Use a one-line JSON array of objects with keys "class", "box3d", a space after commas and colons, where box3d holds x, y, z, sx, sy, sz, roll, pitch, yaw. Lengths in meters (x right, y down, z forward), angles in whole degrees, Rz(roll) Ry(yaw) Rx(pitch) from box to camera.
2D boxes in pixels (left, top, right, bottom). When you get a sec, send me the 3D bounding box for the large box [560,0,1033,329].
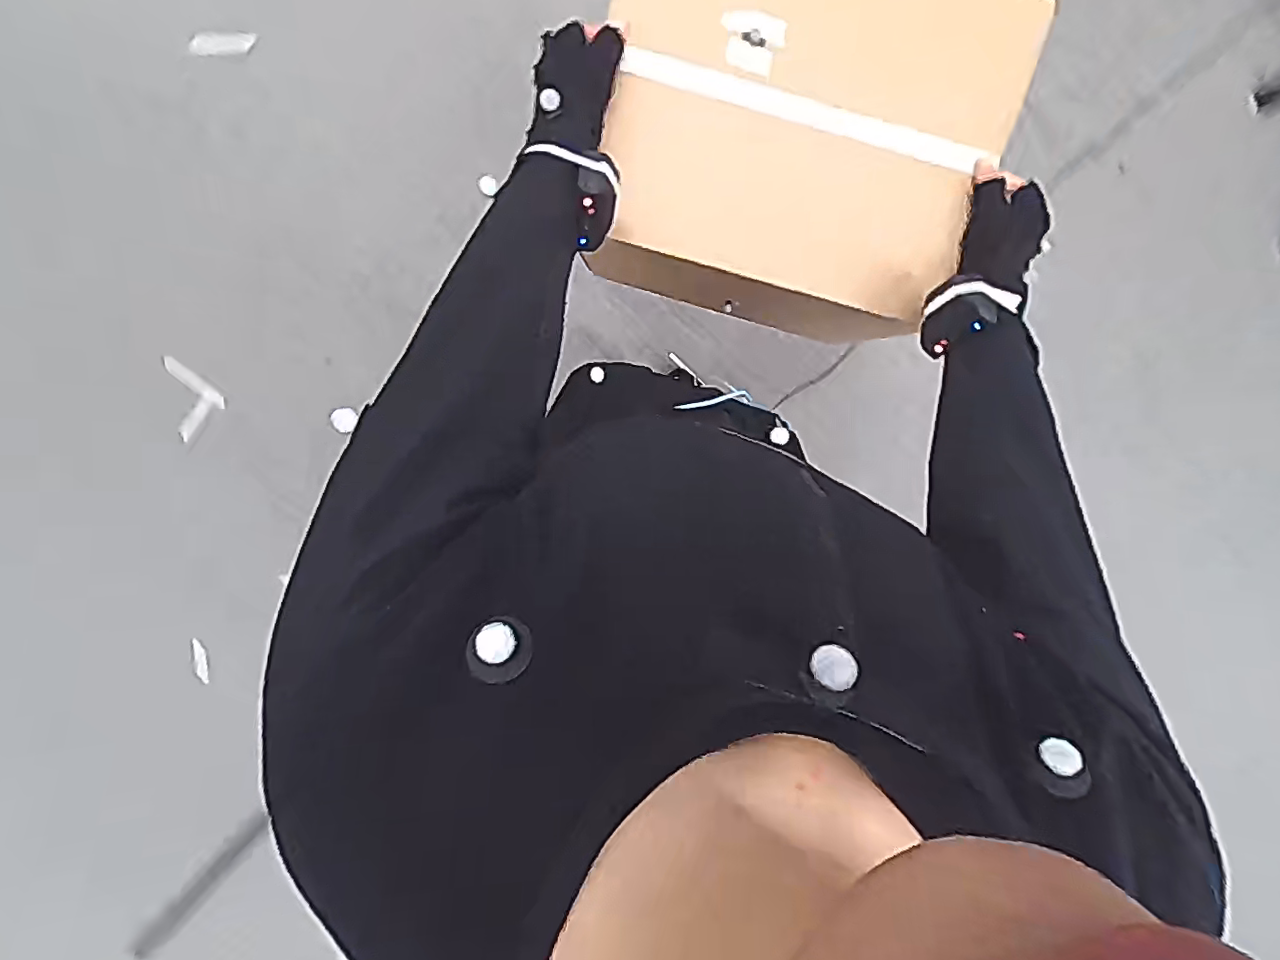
[{"class": "large box", "box3d": [0.149, -0.395, 0.677, 0.408, 0.320, 0.320, 15, 100, -2]}]
